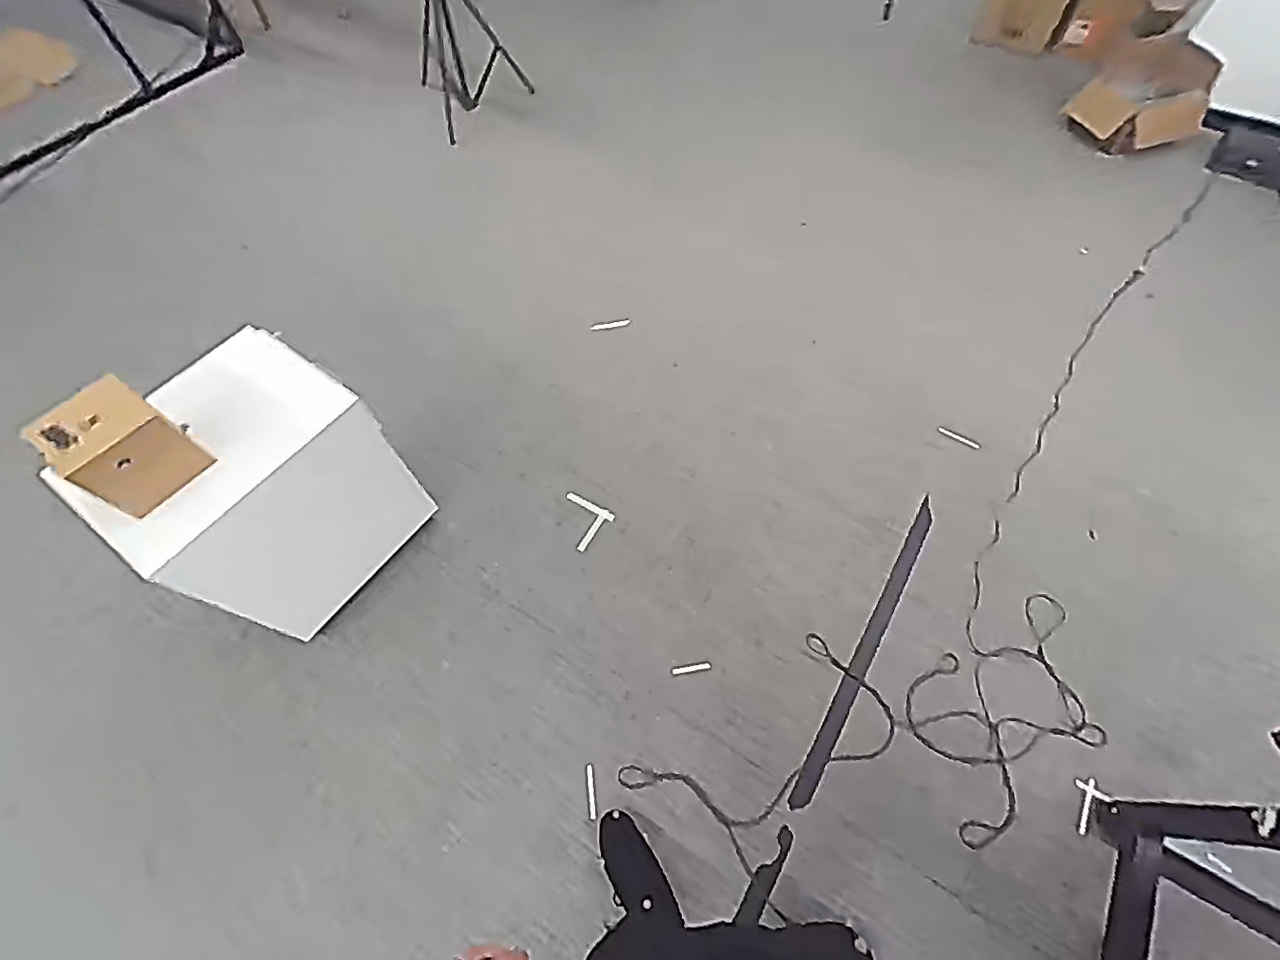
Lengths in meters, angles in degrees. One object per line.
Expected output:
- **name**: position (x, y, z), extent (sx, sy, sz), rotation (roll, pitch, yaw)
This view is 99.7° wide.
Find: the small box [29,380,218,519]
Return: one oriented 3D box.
- **small box**: position (-0.997, -0.053, 1.062), extent (0.168, 0.176, 0.179), rotation (33, 65, 17)
